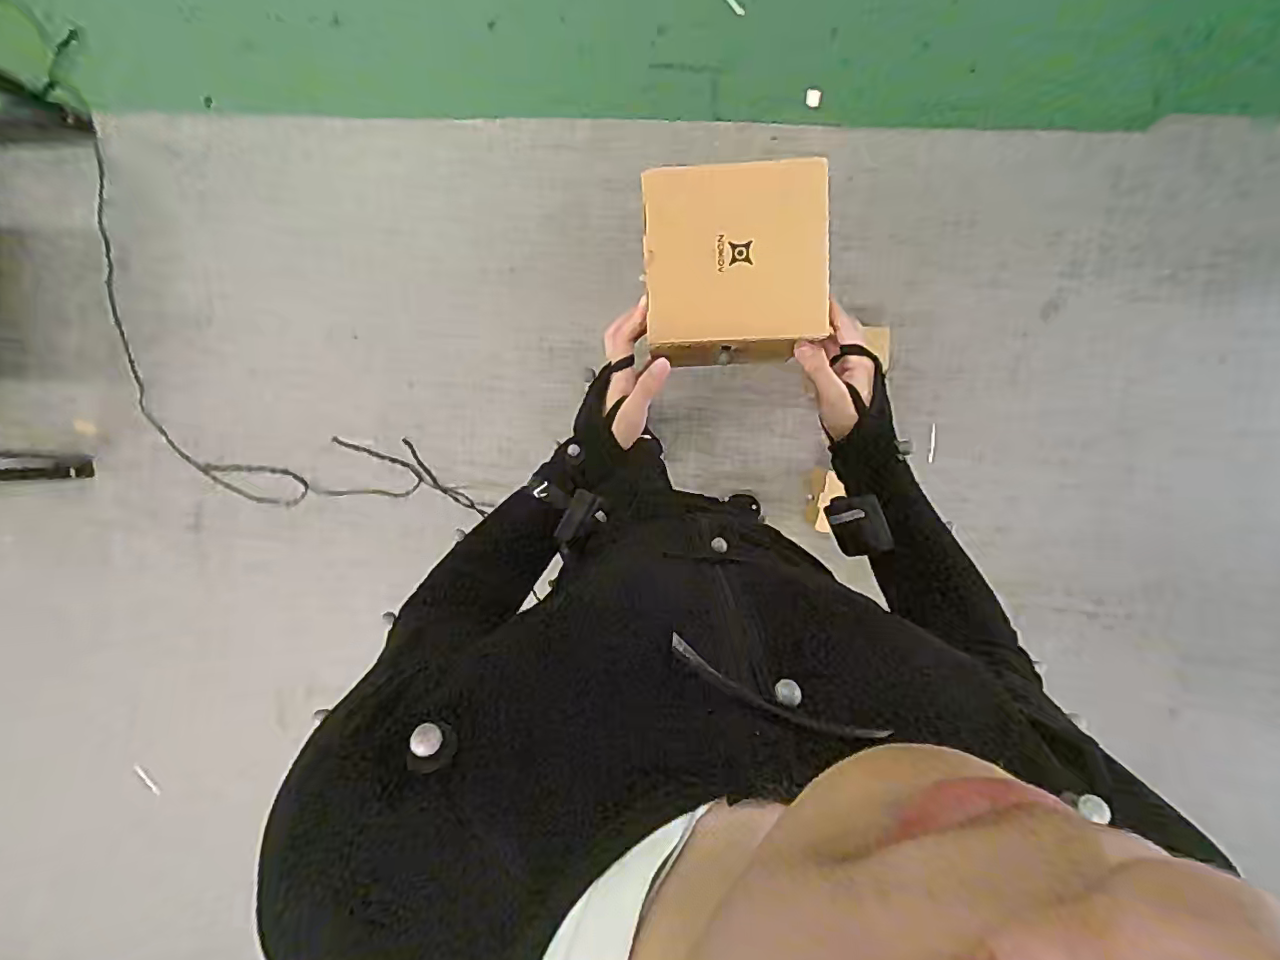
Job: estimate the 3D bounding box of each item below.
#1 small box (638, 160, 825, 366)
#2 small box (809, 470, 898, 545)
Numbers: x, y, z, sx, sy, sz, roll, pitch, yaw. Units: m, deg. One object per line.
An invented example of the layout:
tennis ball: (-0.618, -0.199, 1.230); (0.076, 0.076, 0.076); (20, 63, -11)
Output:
small box: (0.093, -0.222, 0.597); (0.179, 0.176, 0.168); (-2, 94, 6)
small box: (0.581, 0.070, 1.500); (0.179, 0.176, 0.168); (13, 95, 6)
